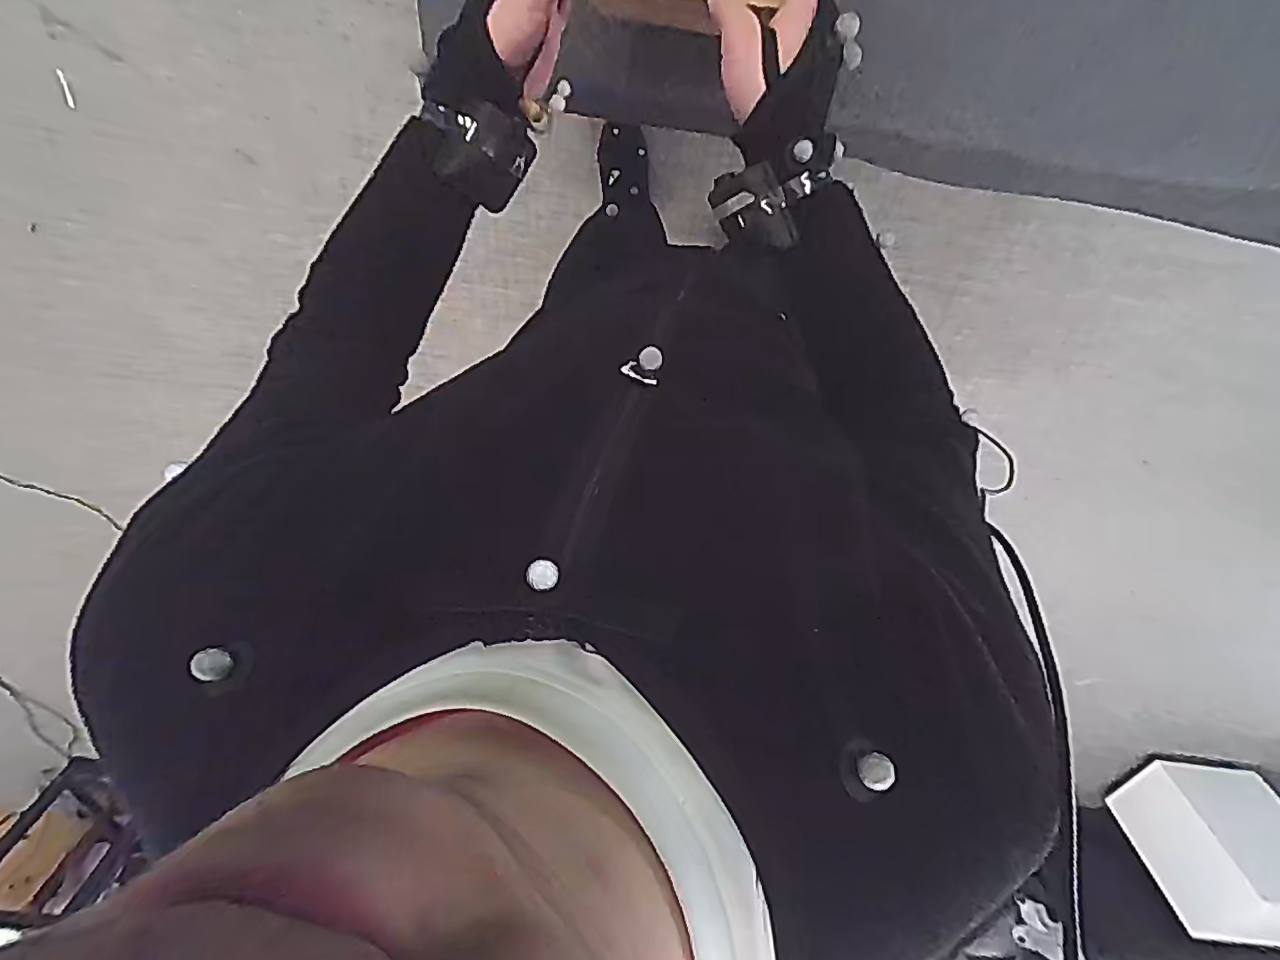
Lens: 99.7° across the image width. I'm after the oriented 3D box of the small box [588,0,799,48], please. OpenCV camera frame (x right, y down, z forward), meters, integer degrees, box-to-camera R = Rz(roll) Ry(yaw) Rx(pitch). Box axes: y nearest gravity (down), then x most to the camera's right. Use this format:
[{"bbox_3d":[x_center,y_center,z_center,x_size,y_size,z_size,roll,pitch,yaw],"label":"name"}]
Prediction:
[{"bbox_3d":[0.047,-0.441,0.392,0.179,0.176,0.168,14,122,2],"label":"small box"}]
